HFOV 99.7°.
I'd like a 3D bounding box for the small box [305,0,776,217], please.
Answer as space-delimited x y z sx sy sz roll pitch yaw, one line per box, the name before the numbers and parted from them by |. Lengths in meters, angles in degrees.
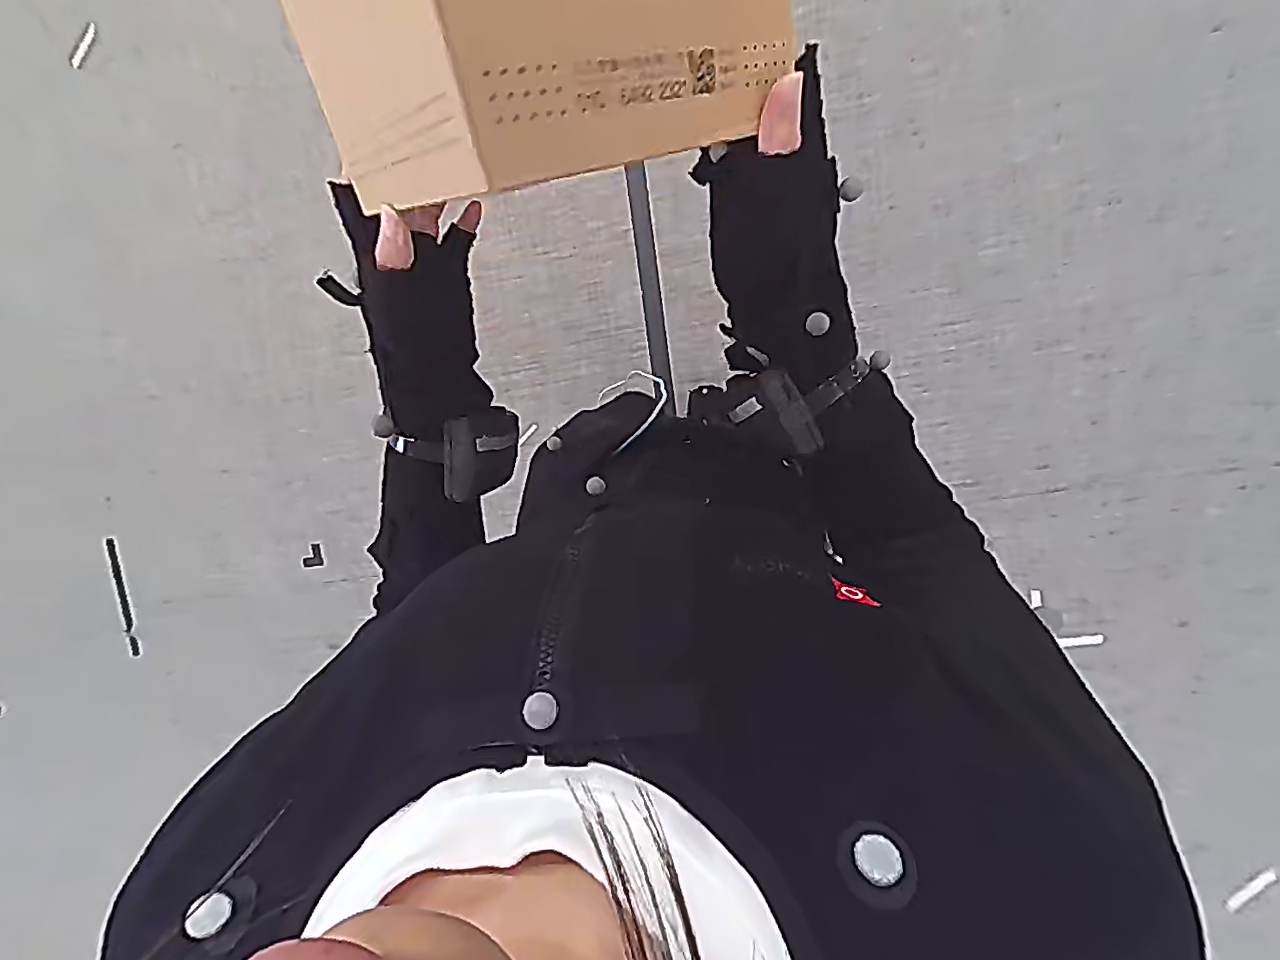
small box | -0.052 -0.236 0.259 0.168 0.179 0.176 -30 124 -29
